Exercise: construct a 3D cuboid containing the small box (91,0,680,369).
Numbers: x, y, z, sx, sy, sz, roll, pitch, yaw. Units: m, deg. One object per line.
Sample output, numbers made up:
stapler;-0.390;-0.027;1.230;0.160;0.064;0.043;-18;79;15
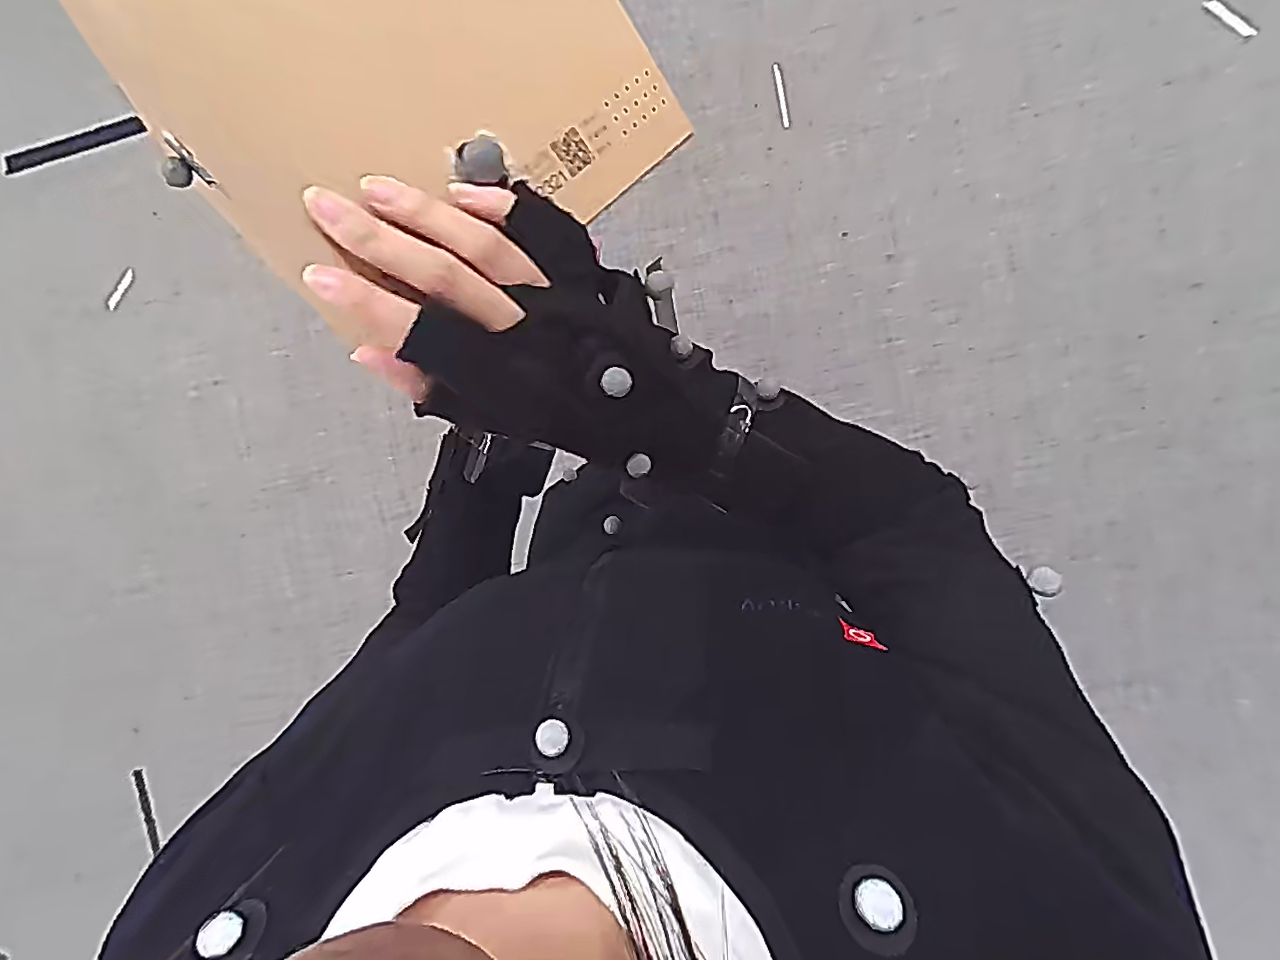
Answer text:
small box;-0.113;-0.175;0.288;0.168;0.179;0.176;-47;113;-14
